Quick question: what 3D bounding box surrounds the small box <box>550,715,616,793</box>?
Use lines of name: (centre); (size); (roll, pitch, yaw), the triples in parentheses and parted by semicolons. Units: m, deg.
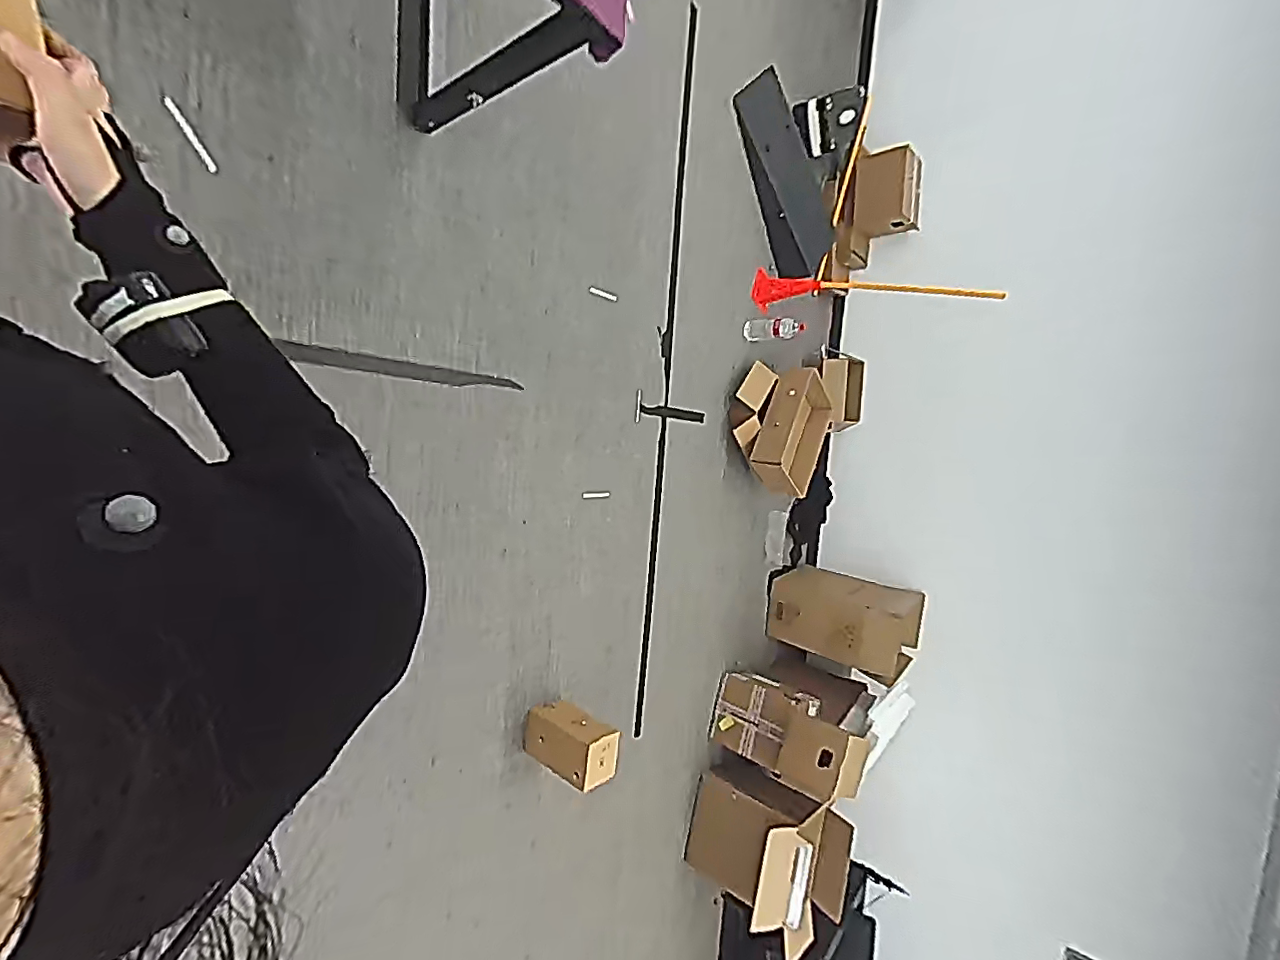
small box: (-0.211, 1.001, 1.991); (0.168, 0.176, 0.179); (5, 92, -52)

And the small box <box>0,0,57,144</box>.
small box: (-0.483, -0.320, 0.305); (0.168, 0.176, 0.179); (-17, 114, -55)
